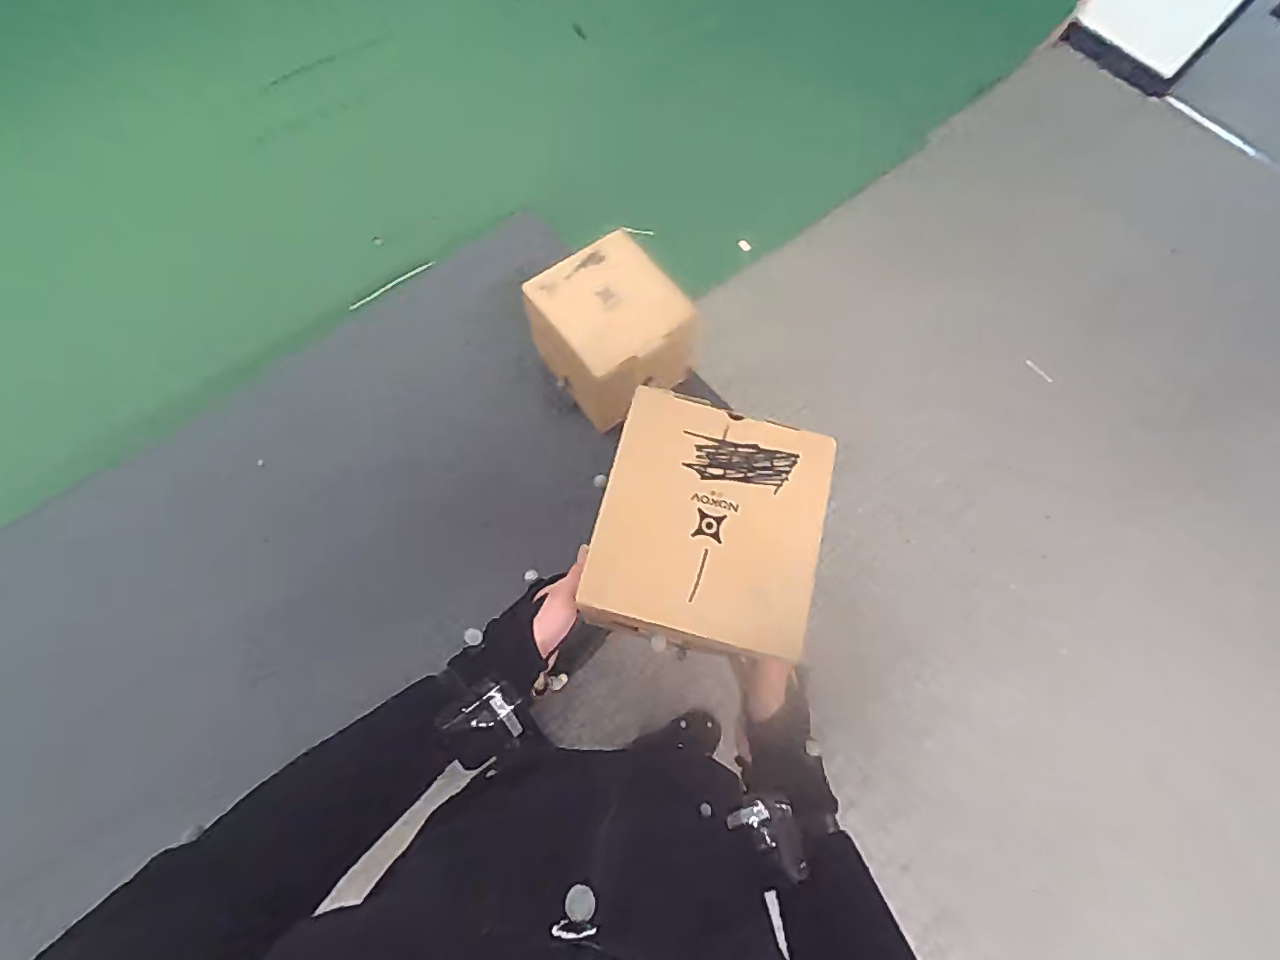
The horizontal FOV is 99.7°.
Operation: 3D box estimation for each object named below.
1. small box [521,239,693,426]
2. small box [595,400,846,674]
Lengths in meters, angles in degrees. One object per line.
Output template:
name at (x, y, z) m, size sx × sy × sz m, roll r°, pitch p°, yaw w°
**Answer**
small box at (-0.046, -0.199, 0.789) m, size 0.168 × 0.176 × 0.179 m, roll -35°, pitch 77°, yaw -13°
small box at (0.059, 0.058, 0.485) m, size 0.168 × 0.176 × 0.179 m, roll 16°, pitch 74°, yaw 0°
